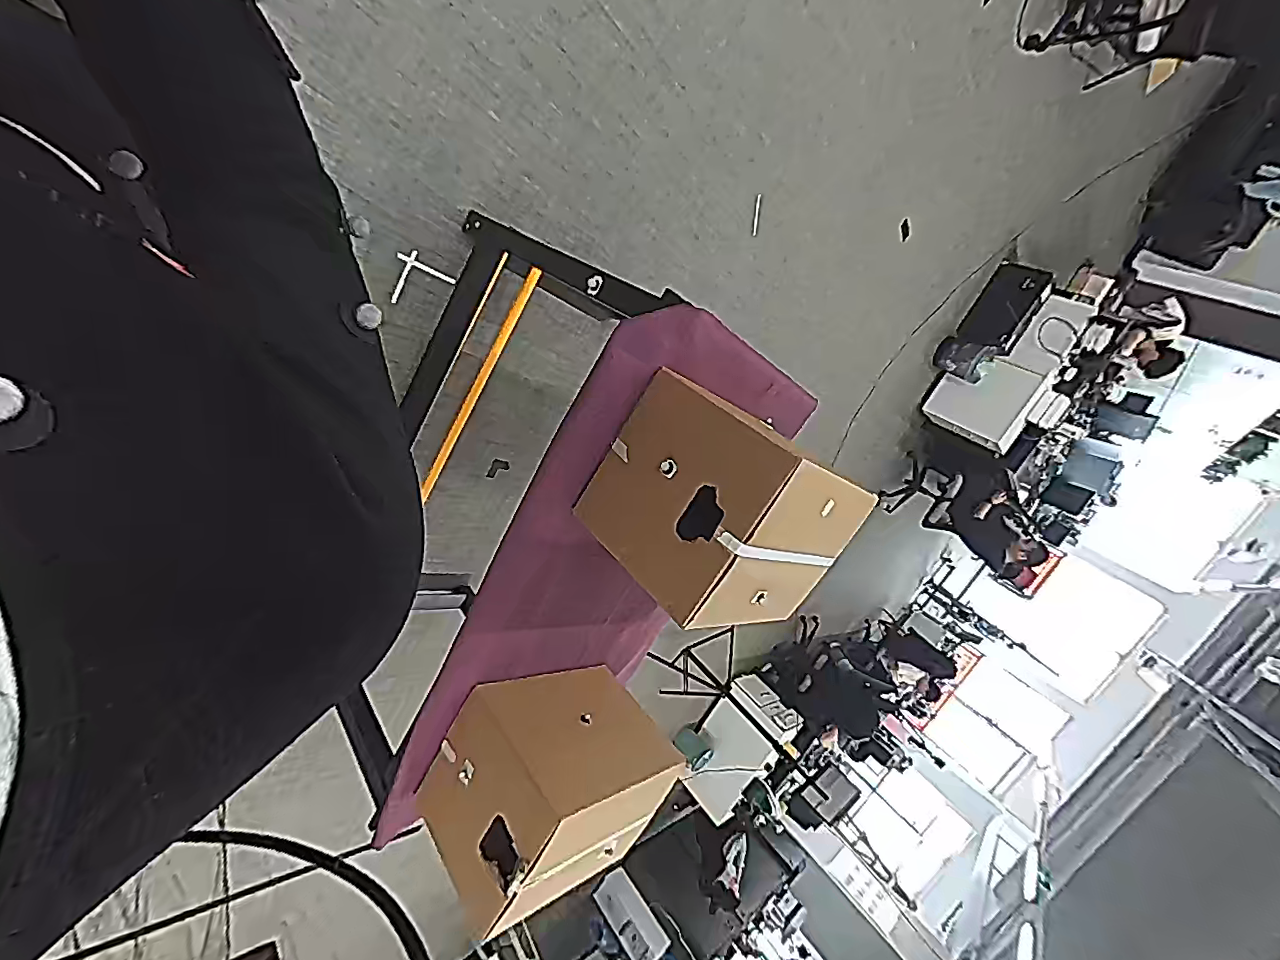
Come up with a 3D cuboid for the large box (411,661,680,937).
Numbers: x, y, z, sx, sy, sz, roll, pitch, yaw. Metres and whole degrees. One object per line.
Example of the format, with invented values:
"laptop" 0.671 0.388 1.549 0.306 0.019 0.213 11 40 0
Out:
"large box" -0.197 0.629 1.158 0.408 0.320 0.320 14 111 -53
